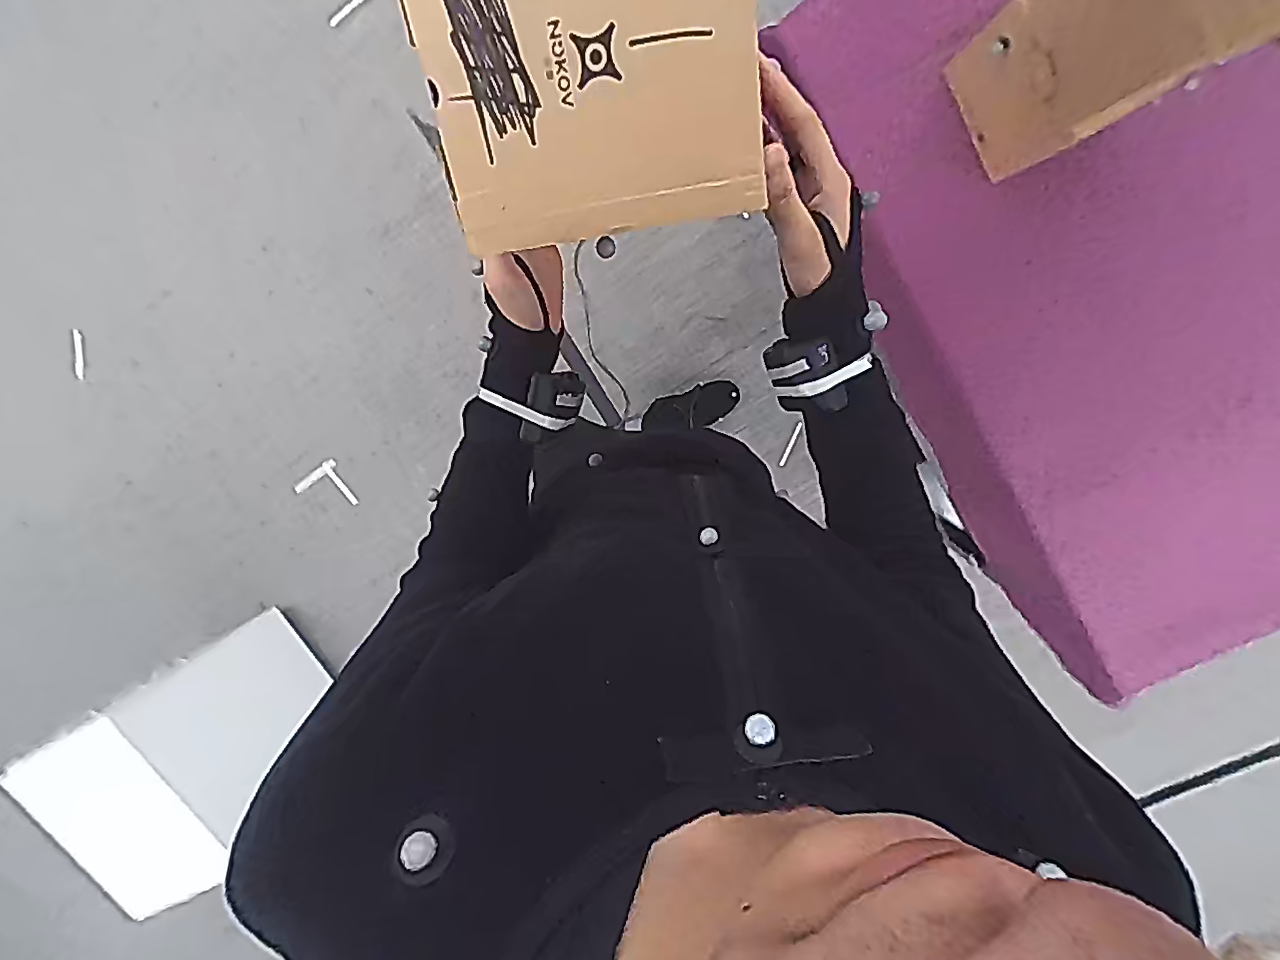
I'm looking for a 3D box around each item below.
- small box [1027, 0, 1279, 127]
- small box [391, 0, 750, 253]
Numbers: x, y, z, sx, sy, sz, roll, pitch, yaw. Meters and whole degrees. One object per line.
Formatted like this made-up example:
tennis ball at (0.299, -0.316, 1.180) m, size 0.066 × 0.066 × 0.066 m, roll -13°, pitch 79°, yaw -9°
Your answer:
small box at (0.494, -0.471, 0.490) m, size 0.168 × 0.176 × 0.179 m, roll -24°, pitch 102°, yaw 9°
small box at (-0.024, -0.250, 0.345) m, size 0.179 × 0.176 × 0.168 m, roll -5°, pitch 117°, yaw 12°
